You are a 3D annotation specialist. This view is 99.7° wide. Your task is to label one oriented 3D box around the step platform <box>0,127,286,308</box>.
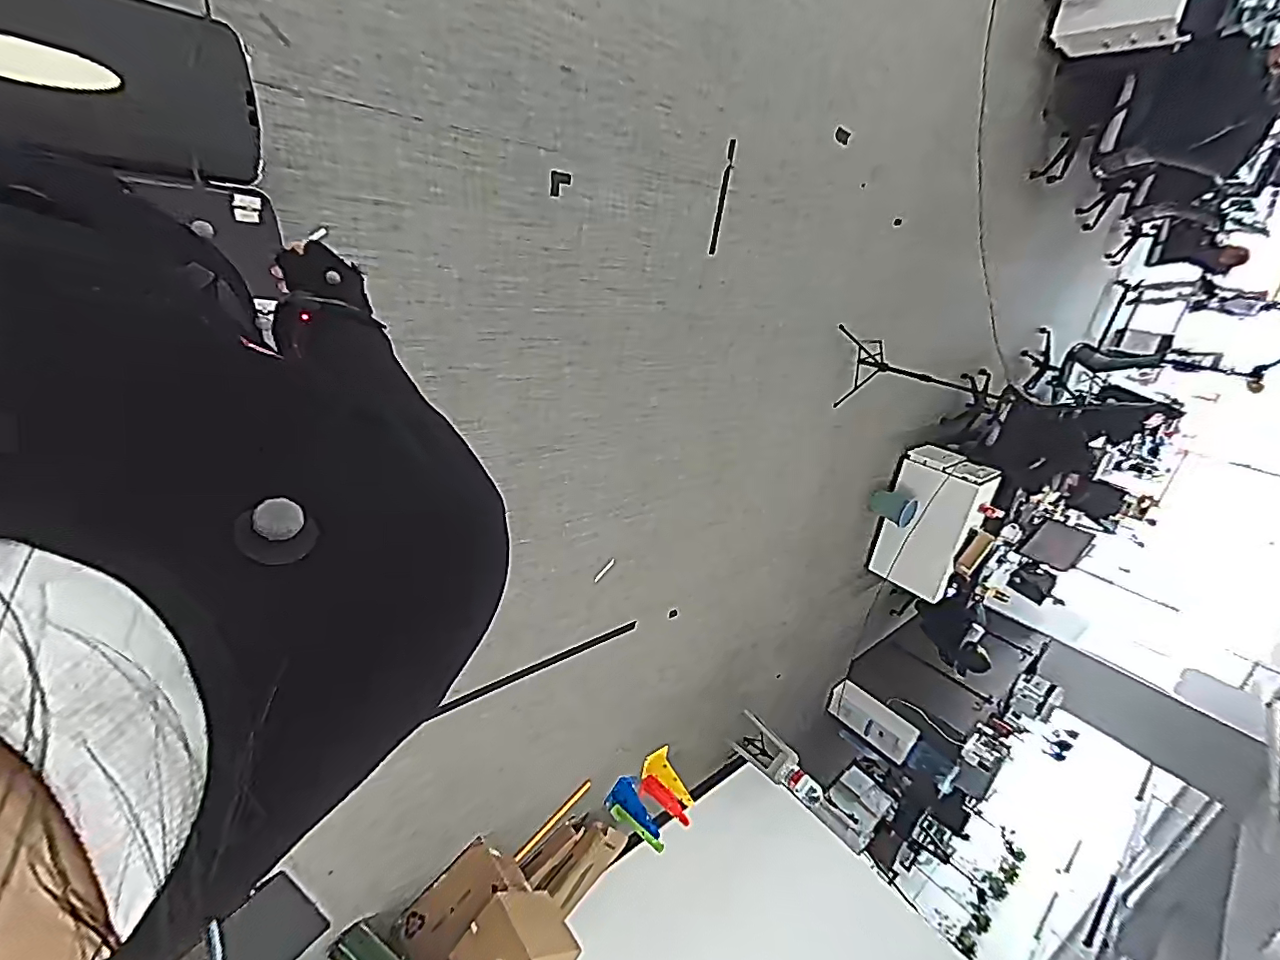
[{"bbox_3d":[-1.067,-0.479,1.005,0.684,0.204,0.286,-13,121,-37],"label":"step platform"}]
